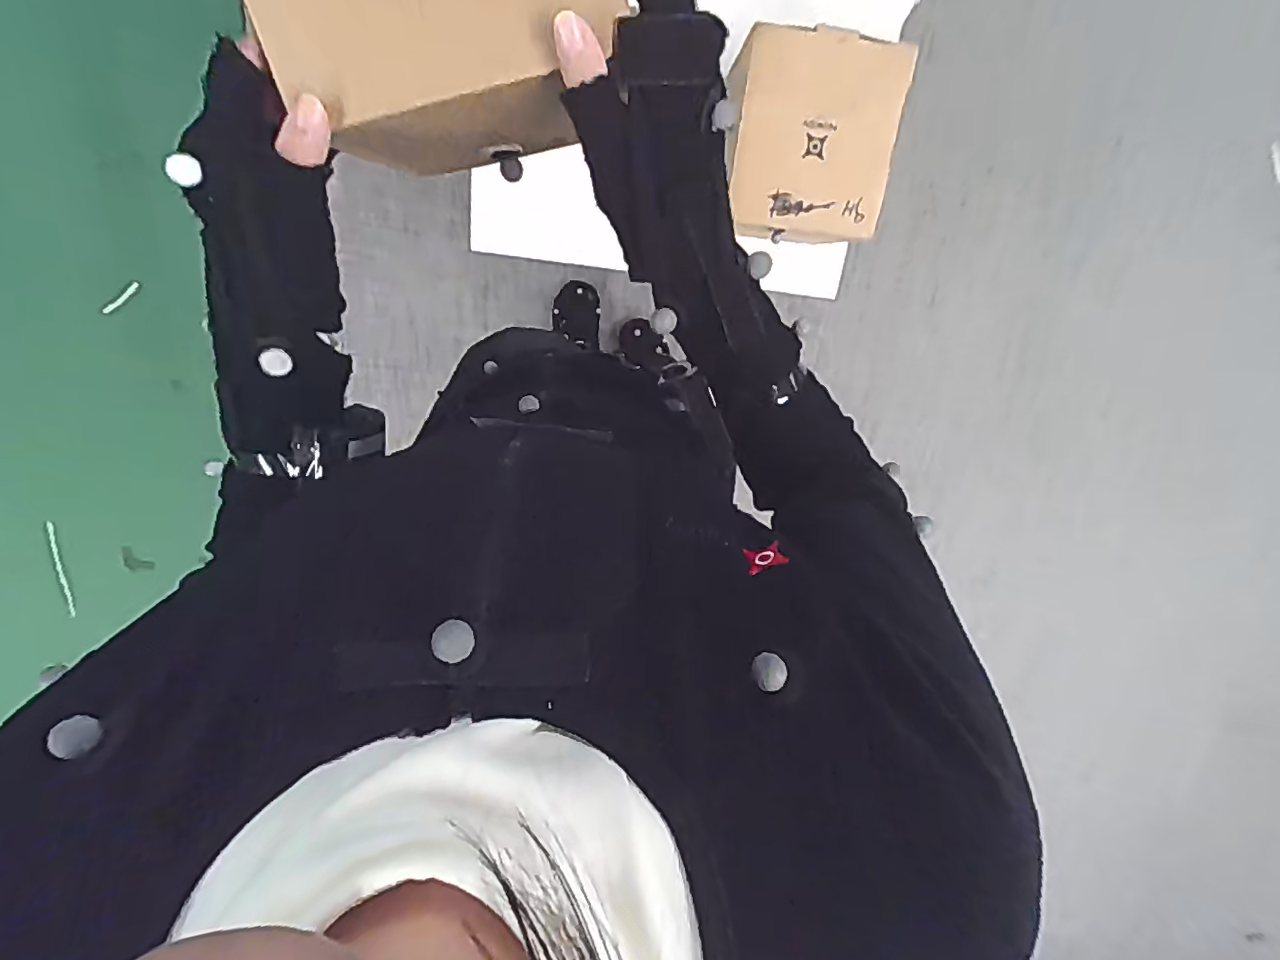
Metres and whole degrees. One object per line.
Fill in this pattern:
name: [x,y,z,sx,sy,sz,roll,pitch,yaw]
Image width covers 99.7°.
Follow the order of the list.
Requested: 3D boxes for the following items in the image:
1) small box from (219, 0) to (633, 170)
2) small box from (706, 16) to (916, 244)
small box: [-0.100,-0.280,0.273,0.168,0.176,0.179,-11,114,6]
small box: [0.176,-0.380,0.621,0.168,0.176,0.179,6,111,-4]
